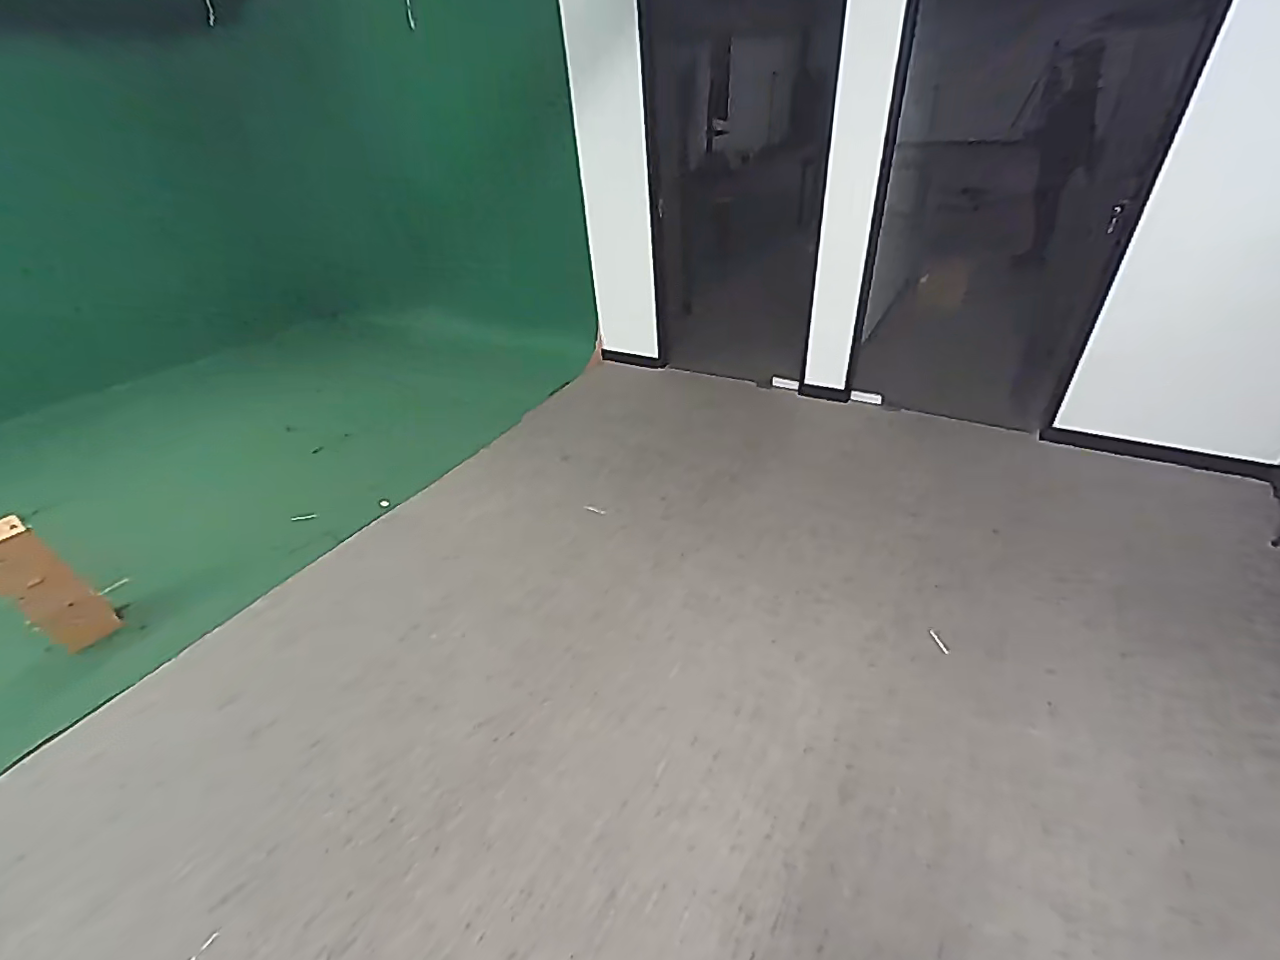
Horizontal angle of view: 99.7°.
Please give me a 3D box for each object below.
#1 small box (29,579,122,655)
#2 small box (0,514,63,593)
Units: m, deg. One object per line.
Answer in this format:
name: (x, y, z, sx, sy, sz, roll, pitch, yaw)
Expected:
small box: (-2.091, 0.510, 2.015, 0.168, 0.176, 0.179, 20, 43, 30)
small box: (-2.121, 0.249, 1.817, 0.168, 0.176, 0.179, 19, 43, 30)
